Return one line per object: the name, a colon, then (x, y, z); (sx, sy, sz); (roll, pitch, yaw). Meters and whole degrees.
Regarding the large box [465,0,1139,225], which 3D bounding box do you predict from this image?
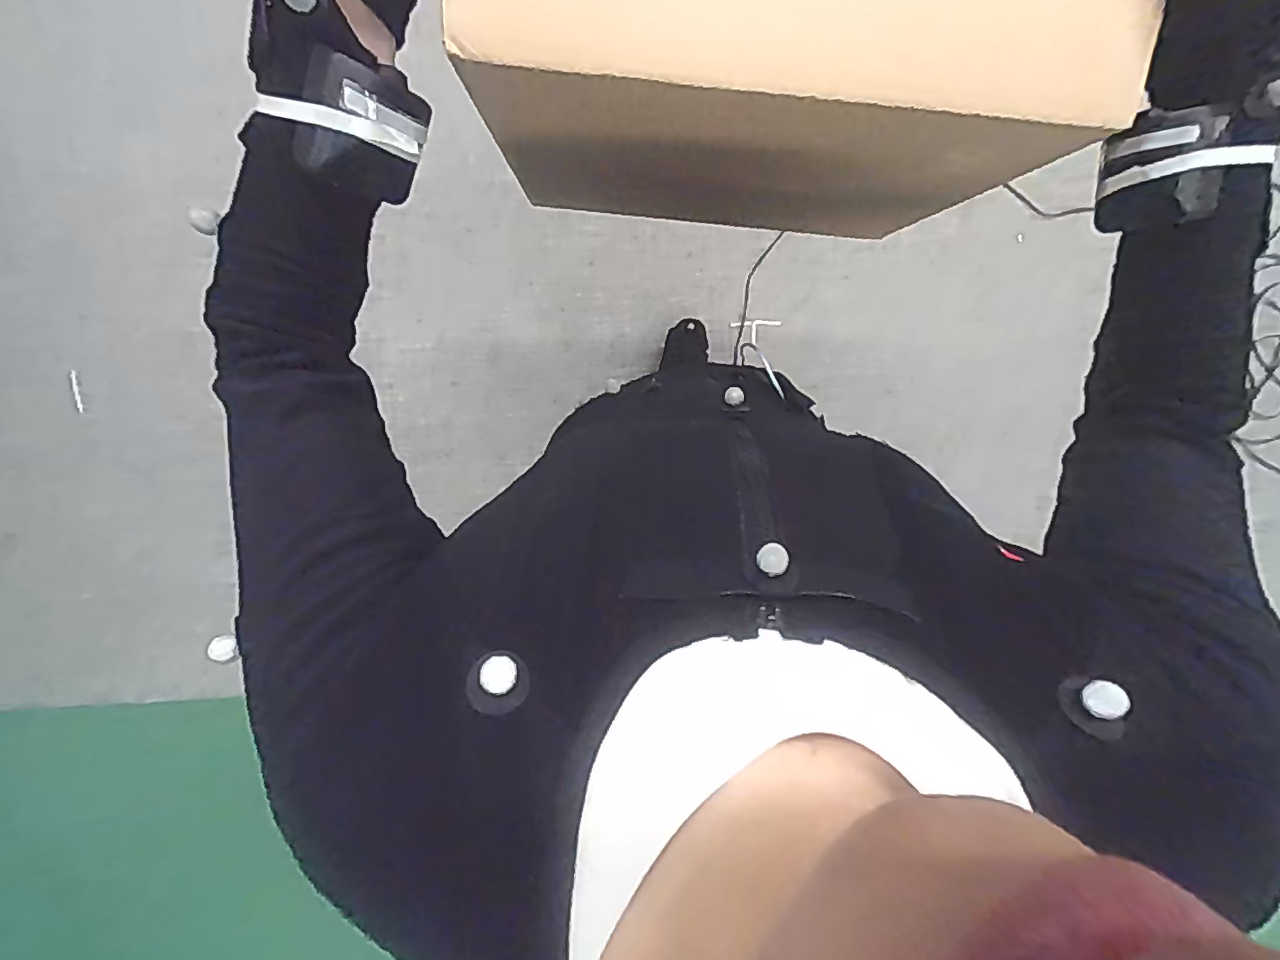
large box: (0.096, -0.415, 0.436); (0.408, 0.320, 0.320); (3, 104, -3)
